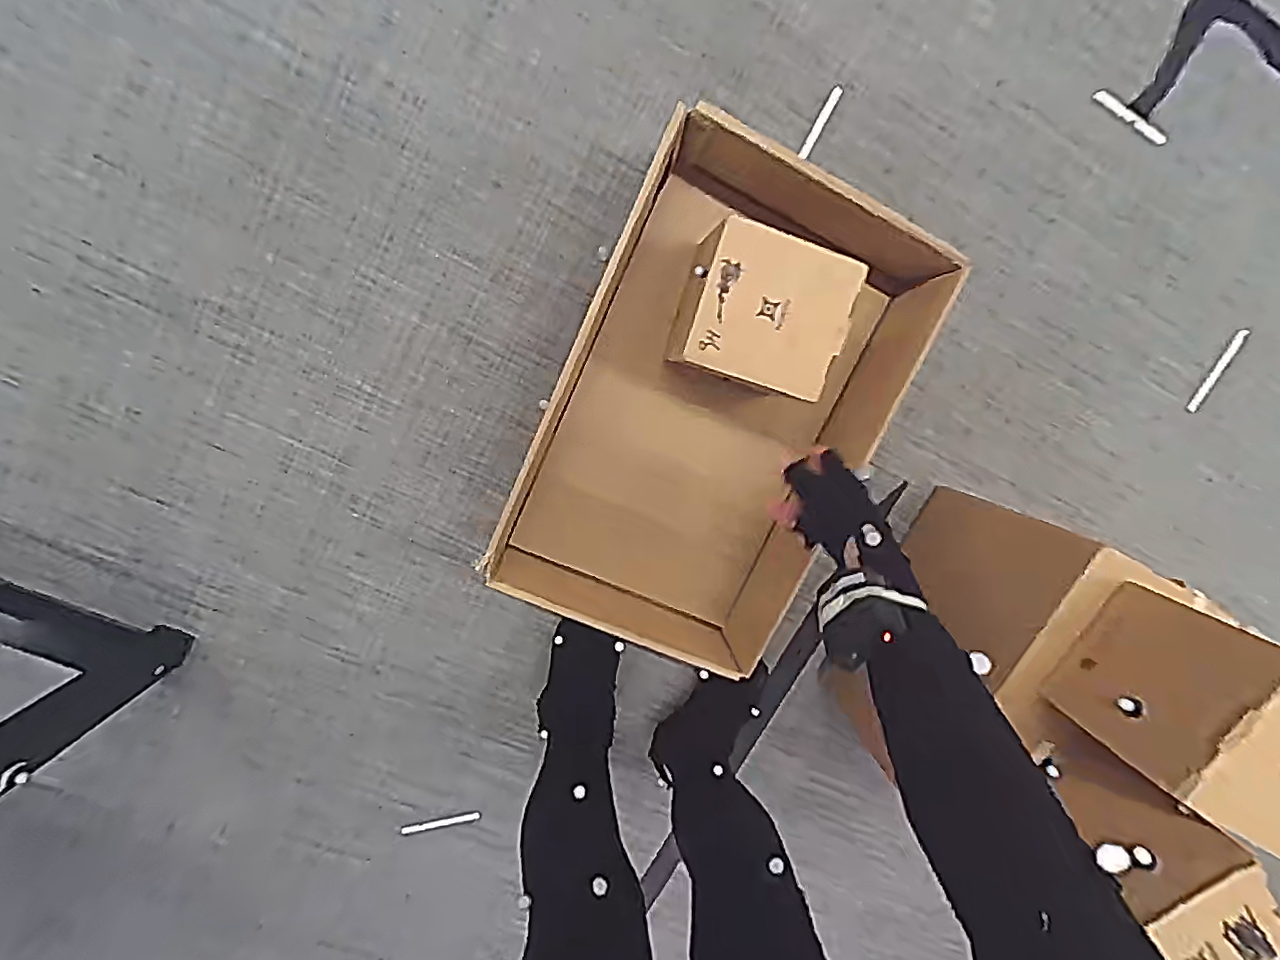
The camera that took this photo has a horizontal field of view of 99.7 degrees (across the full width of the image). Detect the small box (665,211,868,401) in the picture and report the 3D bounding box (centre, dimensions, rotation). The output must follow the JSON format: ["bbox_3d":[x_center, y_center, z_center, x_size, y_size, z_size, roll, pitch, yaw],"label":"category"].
[{"bbox_3d":[0.145,-0.212,0.690,0.179,0.176,0.168,17,101,-9],"label":"small box"}]

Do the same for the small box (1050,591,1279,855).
[{"bbox_3d":[0.591,0.239,0.561,0.179,0.176,0.168,29,101,-10],"label":"small box"}]

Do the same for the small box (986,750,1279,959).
[{"bbox_3d":[0.540,0.446,0.600,0.179,0.176,0.168,-34,103,3],"label":"small box"}]

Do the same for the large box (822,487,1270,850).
[{"bbox_3d":[0.553,0.275,0.815,0.320,0.320,0.408,26,100,-9],"label":"large box"}]
